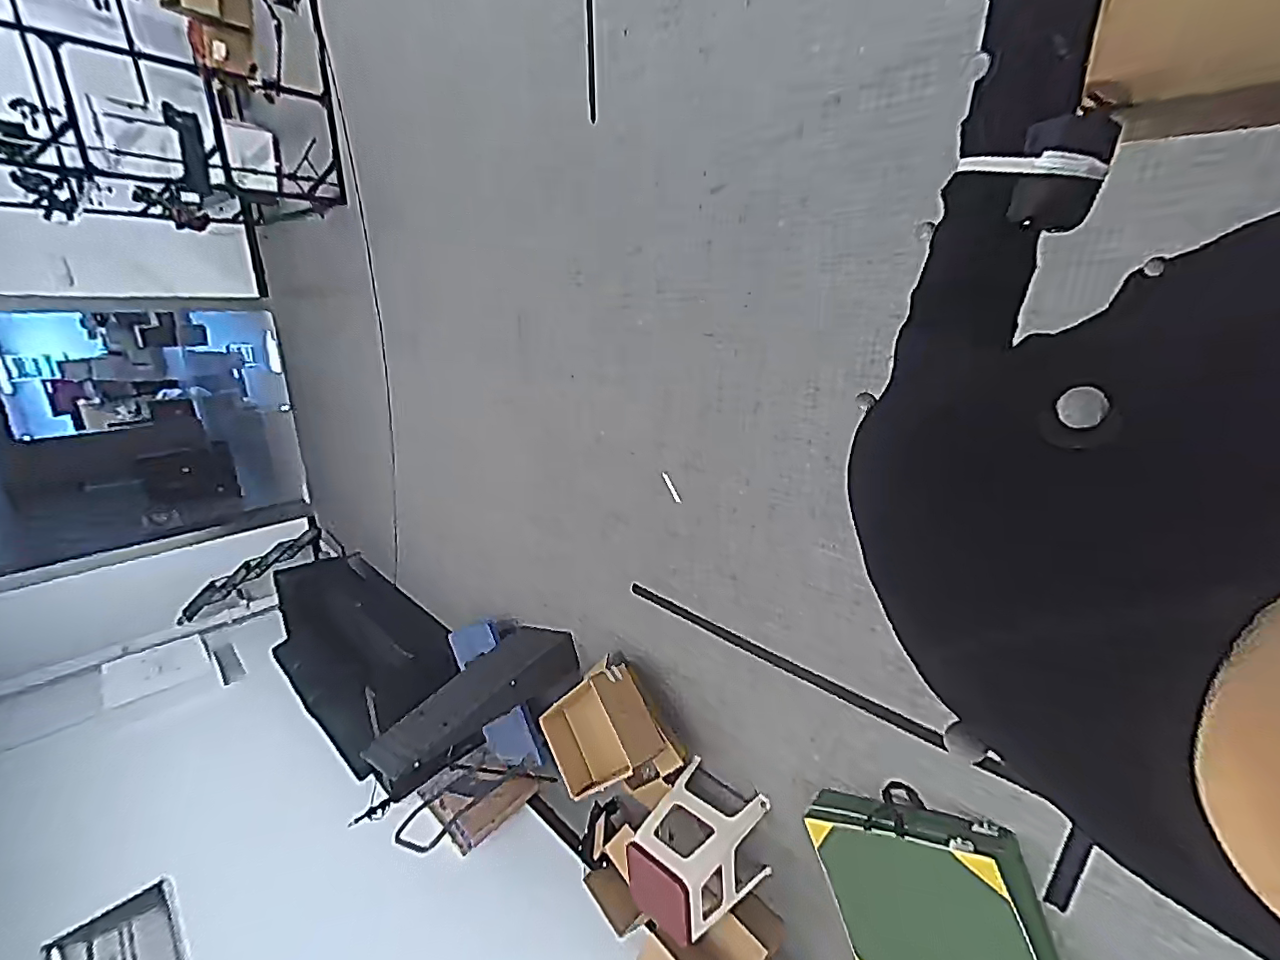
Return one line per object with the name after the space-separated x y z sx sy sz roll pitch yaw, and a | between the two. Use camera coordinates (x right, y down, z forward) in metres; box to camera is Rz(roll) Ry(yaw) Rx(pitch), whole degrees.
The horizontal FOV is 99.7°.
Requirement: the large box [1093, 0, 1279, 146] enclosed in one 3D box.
0.535 -0.397 0.286 0.408 0.320 0.320 15 122 37 | large box
